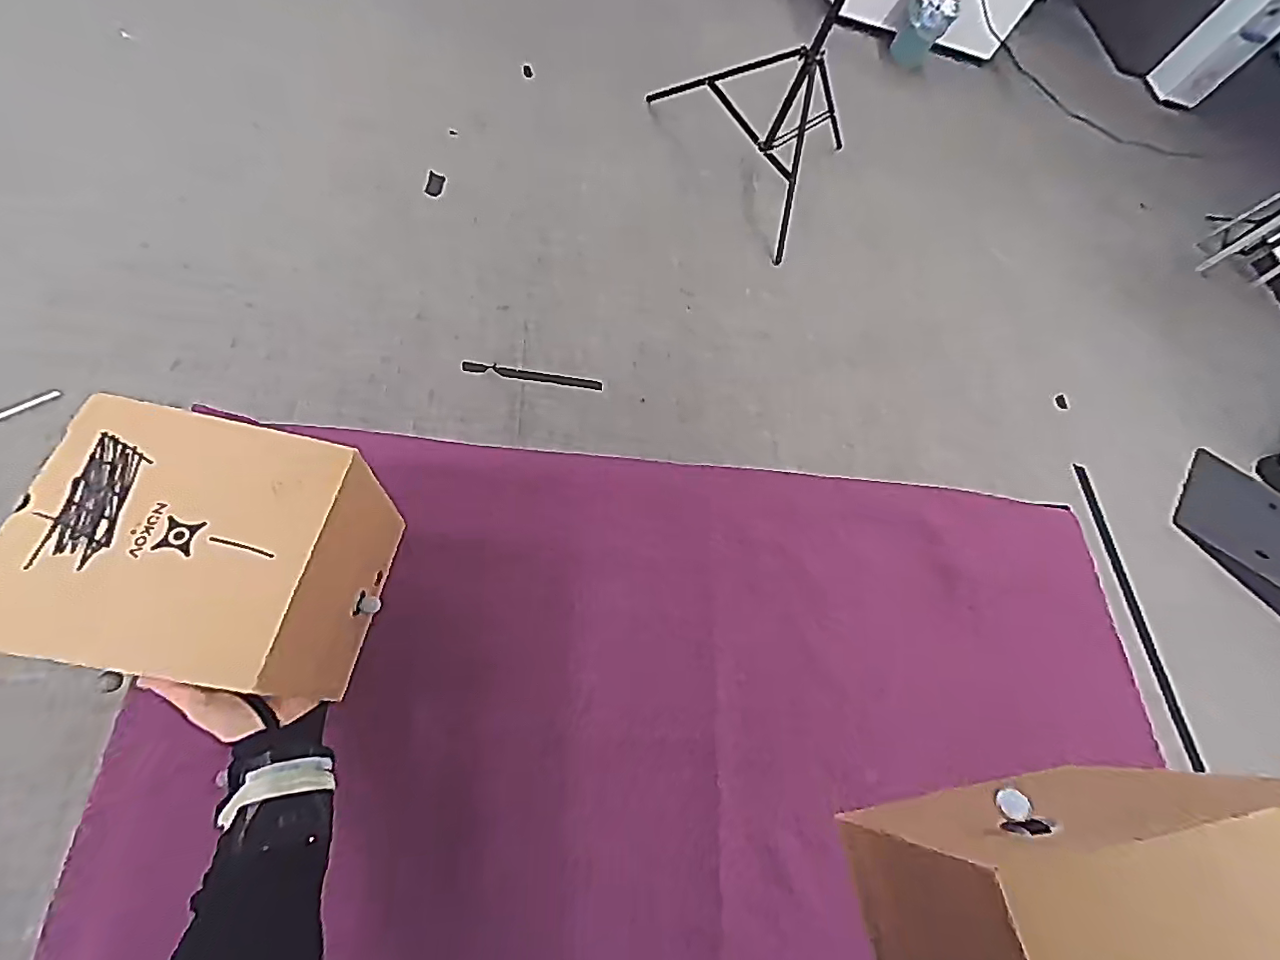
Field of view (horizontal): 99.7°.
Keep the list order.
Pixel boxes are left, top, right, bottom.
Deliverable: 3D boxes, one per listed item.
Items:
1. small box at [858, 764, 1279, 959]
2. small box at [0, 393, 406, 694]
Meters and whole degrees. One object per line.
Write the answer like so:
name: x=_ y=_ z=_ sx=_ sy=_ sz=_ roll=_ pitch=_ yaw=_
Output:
small box: x=0.230 y=0.244 z=0.260 sx=0.179 sy=0.176 sz=0.168 roll=-8 pitch=66 yaw=-8
small box: x=-0.305 y=0.063 z=0.412 sx=0.179 sy=0.176 sz=0.168 roll=13 pitch=65 yaw=-6
